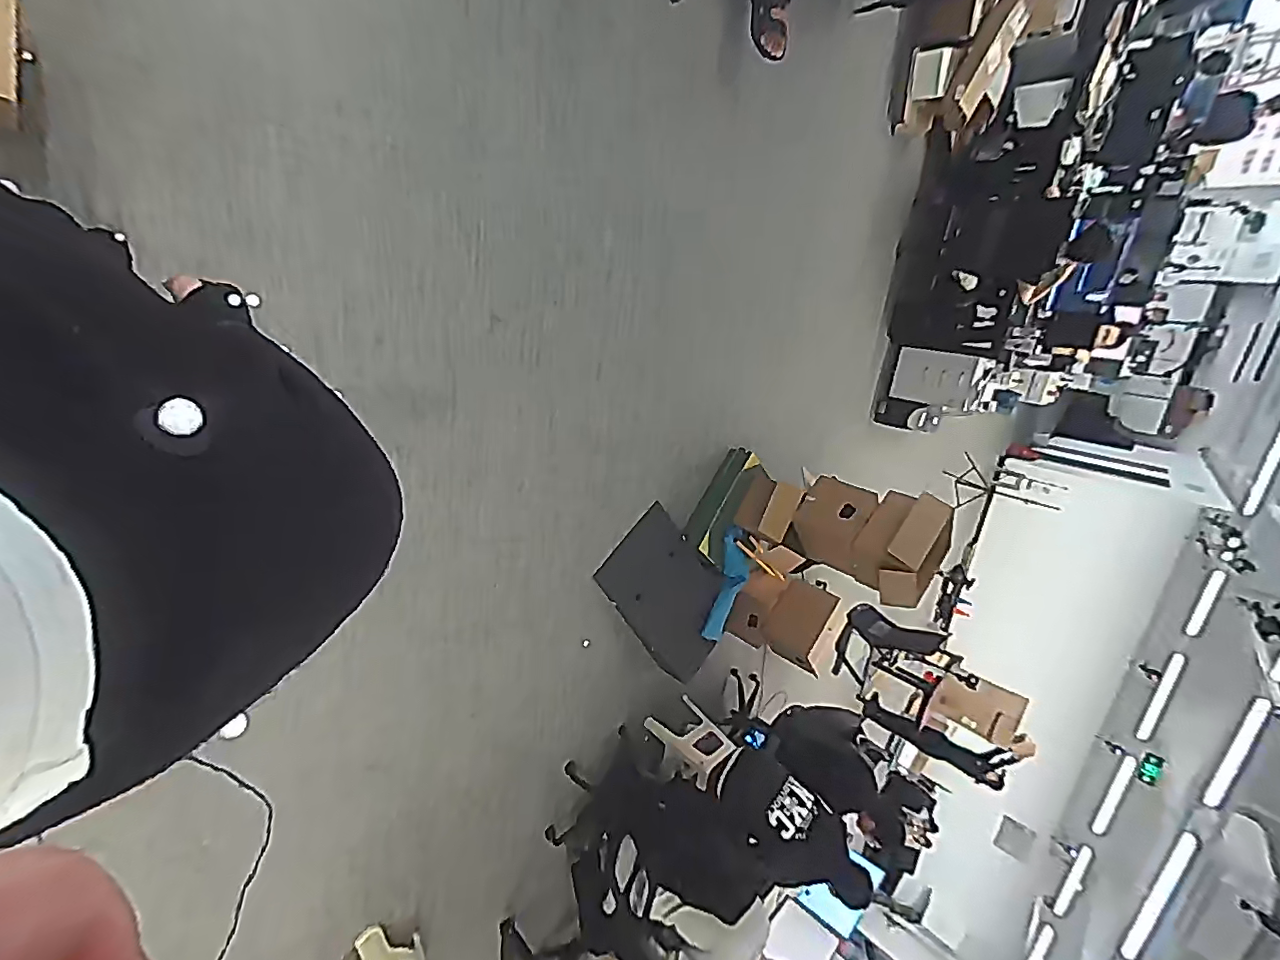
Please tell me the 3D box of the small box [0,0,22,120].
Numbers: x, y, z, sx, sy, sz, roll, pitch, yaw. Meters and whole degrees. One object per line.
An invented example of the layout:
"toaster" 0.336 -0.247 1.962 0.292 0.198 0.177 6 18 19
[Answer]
"small box" -0.969 -0.630 0.736 0.168 0.176 0.179 1 105 -49

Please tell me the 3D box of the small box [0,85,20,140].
"small box" -1.092 -0.666 0.840 0.168 0.176 0.179 -1 106 -49
